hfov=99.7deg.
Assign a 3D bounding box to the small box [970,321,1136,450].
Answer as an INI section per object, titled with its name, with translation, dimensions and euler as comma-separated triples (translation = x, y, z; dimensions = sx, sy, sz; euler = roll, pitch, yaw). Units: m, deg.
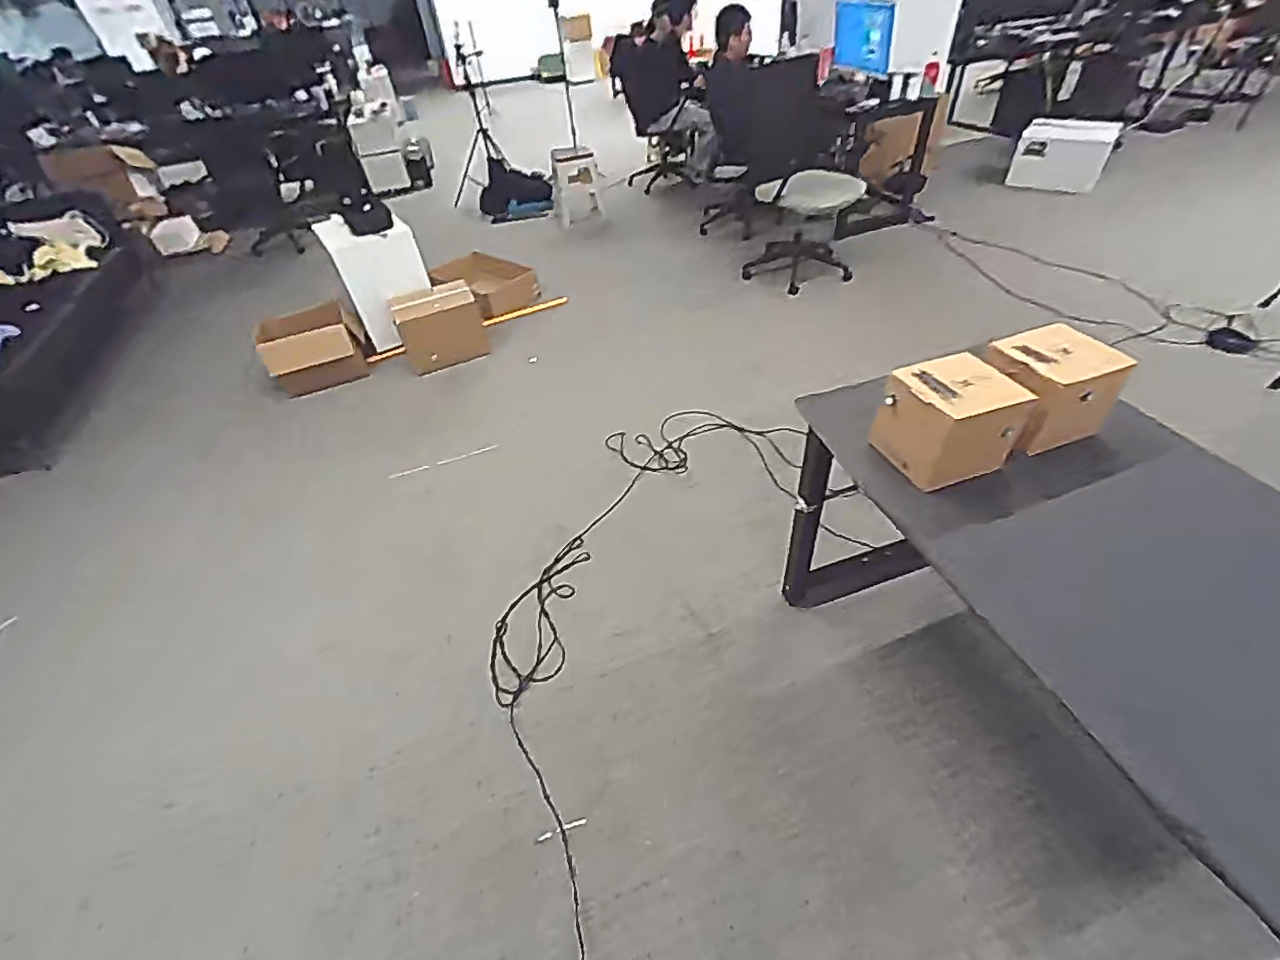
[small box]
translation = 0.784, -0.181, 1.055
dimensions = 0.179, 0.176, 0.168
euler = -17, 45, -11
